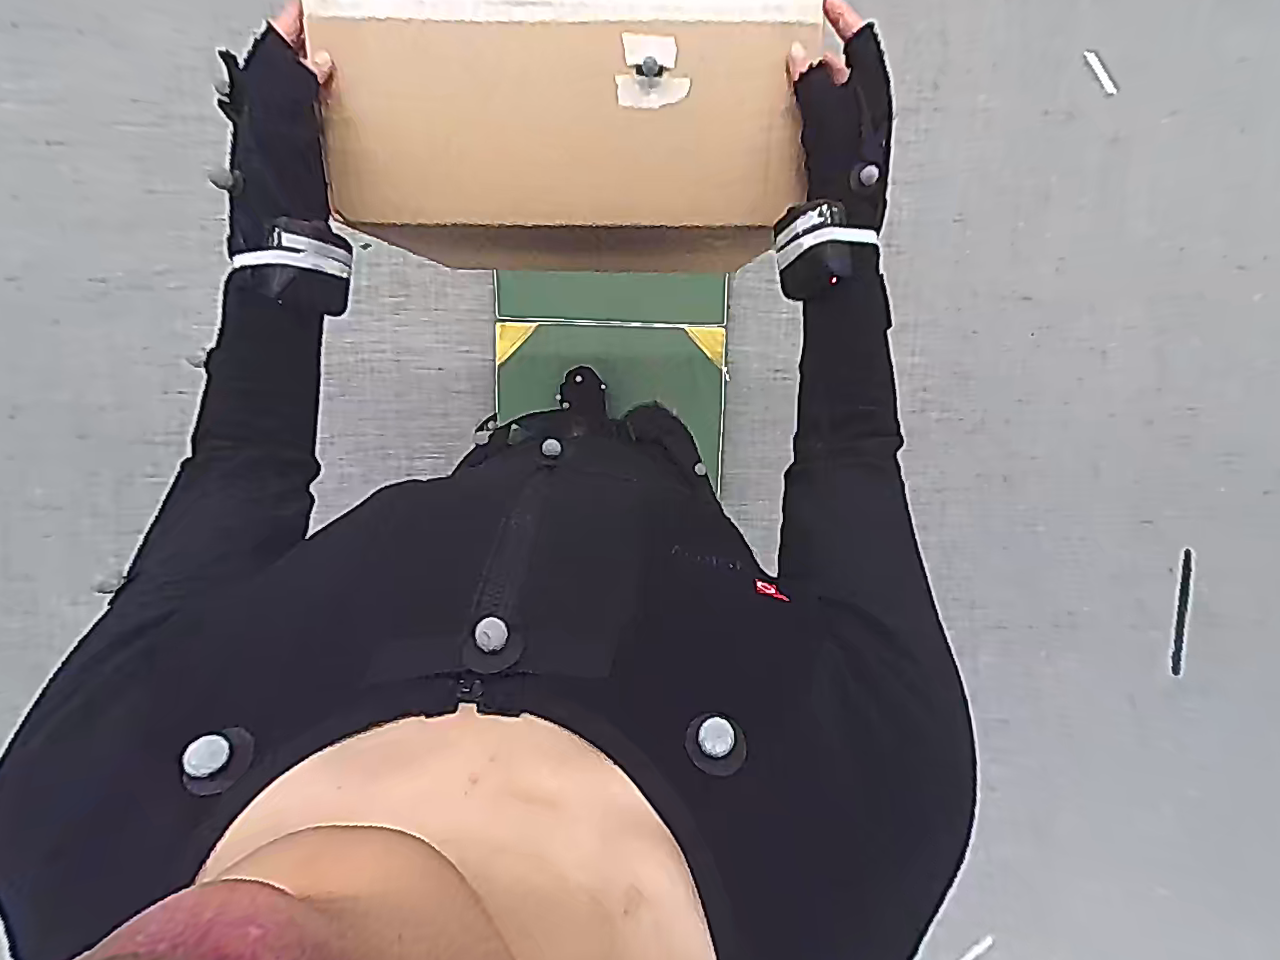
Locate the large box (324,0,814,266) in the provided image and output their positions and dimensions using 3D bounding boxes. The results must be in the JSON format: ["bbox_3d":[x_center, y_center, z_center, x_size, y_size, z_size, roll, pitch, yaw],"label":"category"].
[{"bbox_3d":[-0.063,-0.419,0.581,0.408,0.320,0.320,-1,105,-2],"label":"large box"}]
